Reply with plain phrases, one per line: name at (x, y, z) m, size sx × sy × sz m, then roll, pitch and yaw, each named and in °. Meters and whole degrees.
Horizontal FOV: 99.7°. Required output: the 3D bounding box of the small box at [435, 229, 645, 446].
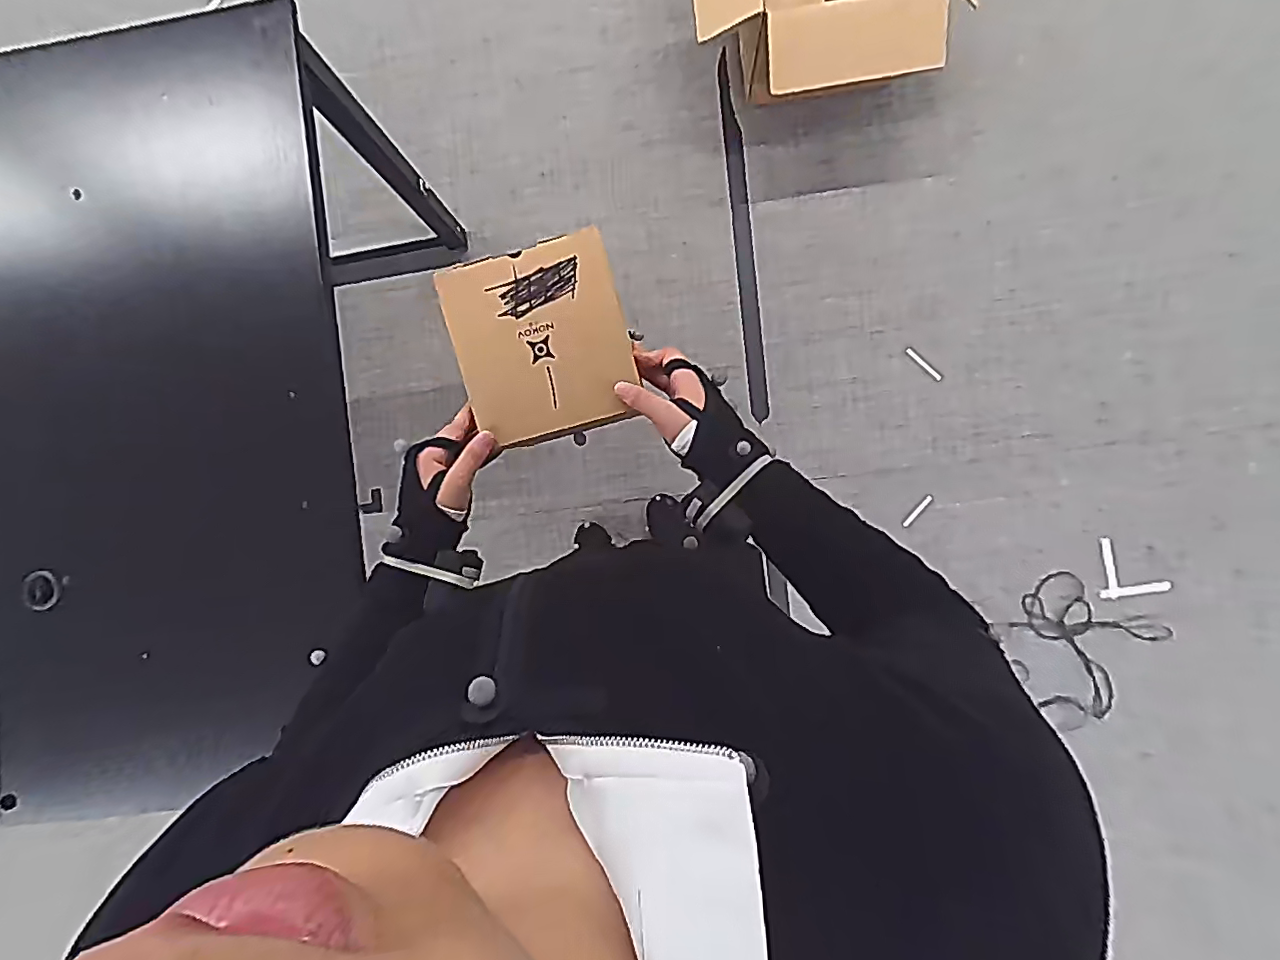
small box at (-0.095, -0.141, 0.597) m, size 0.168 × 0.176 × 0.179 m, roll -15°, pitch 95°, yaw 4°

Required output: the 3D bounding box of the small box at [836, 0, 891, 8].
small box at (0.551, -1.227, 1.223) m, size 0.179 × 0.176 × 0.168 m, roll -9°, pitch 88°, yaw 2°
